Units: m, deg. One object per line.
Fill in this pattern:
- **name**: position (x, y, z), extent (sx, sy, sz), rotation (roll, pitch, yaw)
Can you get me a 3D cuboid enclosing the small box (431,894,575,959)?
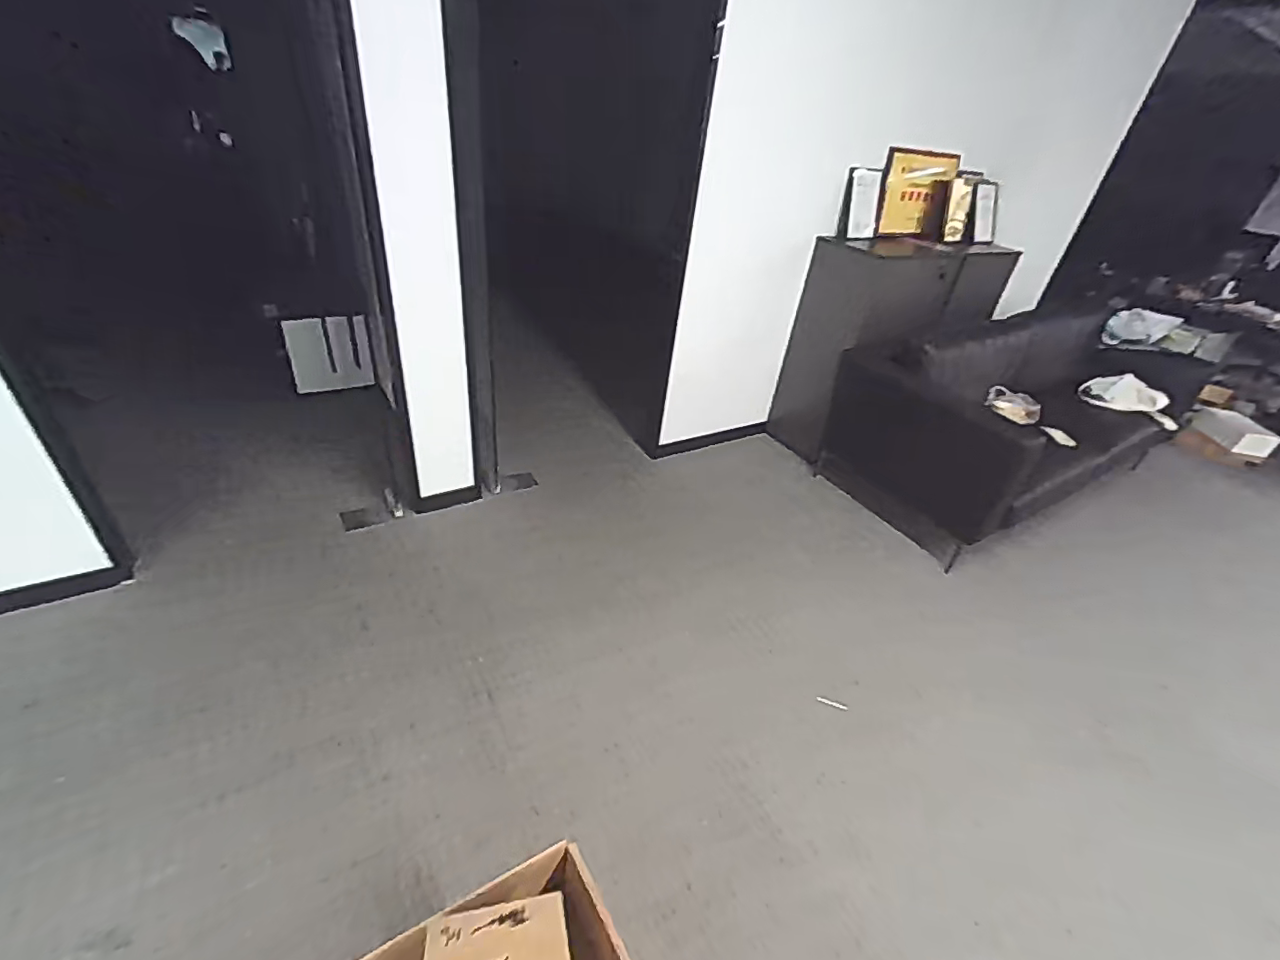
- **small box**: position (-0.156, 0.639, 0.623), extent (0.168, 0.176, 0.179), rotation (0, 15, -15)
